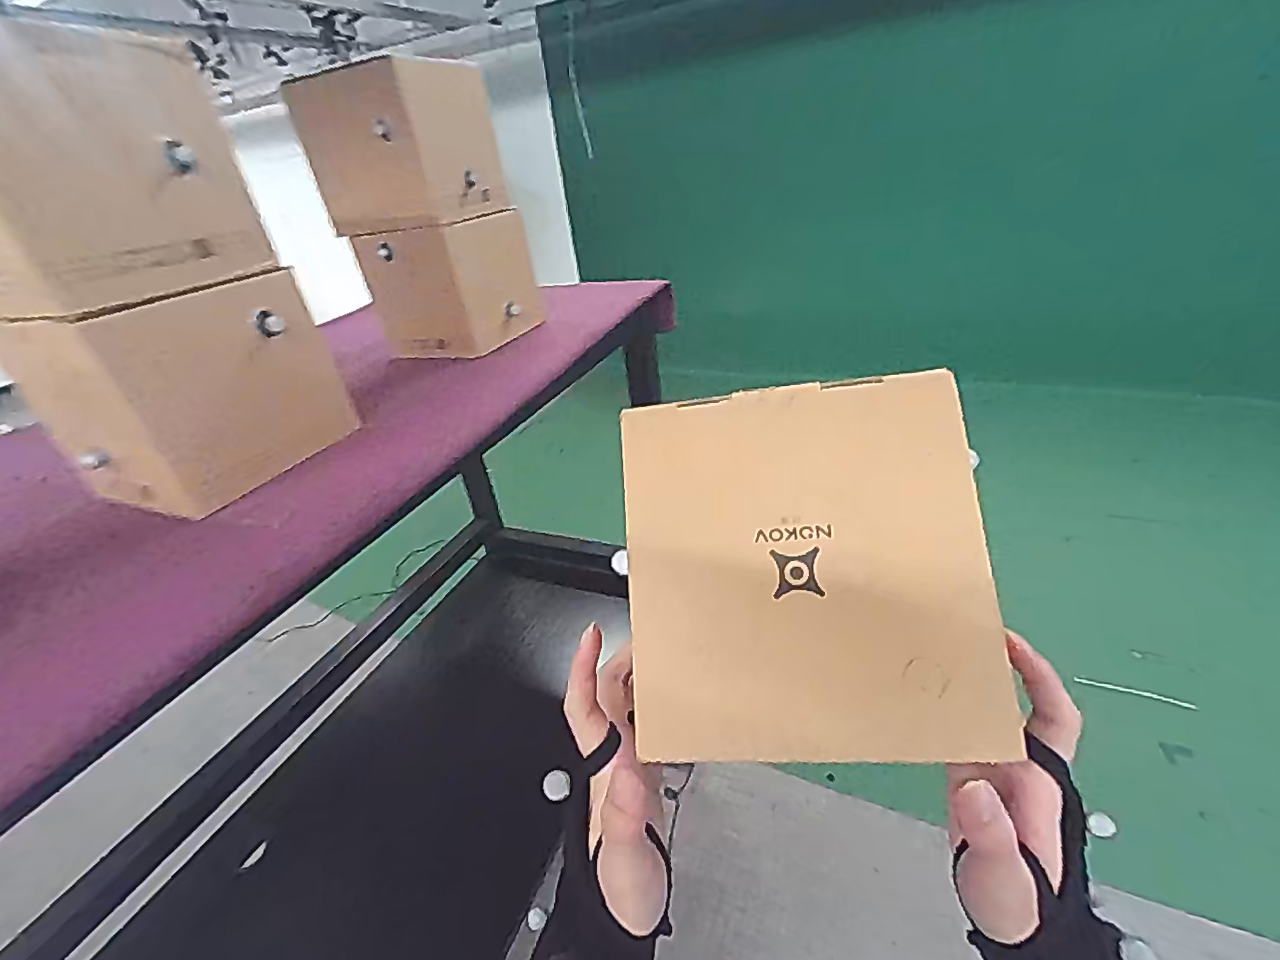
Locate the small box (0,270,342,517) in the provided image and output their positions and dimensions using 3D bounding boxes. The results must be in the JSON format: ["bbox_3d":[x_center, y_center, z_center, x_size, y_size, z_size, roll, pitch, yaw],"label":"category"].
[{"bbox_3d":[-0.416,-0.089,0.506,0.168,0.176,0.179,7,34,24],"label":"small box"}]

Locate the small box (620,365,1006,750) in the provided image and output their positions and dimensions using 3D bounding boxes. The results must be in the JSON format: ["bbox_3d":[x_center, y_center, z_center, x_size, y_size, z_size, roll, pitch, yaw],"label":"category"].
[{"bbox_3d":[0.090,0.052,0.336,0.168,0.179,0.176,-6,-14,12],"label":"small box"}]

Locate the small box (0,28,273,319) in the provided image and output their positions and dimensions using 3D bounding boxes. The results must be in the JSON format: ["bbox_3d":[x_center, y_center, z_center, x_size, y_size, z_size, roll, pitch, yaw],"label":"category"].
[{"bbox_3d":[-0.443,-0.228,0.425,0.179,0.176,0.168,6,33,24],"label":"small box"}]

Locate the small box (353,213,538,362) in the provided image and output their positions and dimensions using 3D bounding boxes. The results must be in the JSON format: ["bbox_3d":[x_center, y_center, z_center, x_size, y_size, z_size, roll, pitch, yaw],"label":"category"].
[{"bbox_3d":[-0.267,-0.281,0.790,0.168,0.176,0.179,5,33,24],"label":"small box"}]
